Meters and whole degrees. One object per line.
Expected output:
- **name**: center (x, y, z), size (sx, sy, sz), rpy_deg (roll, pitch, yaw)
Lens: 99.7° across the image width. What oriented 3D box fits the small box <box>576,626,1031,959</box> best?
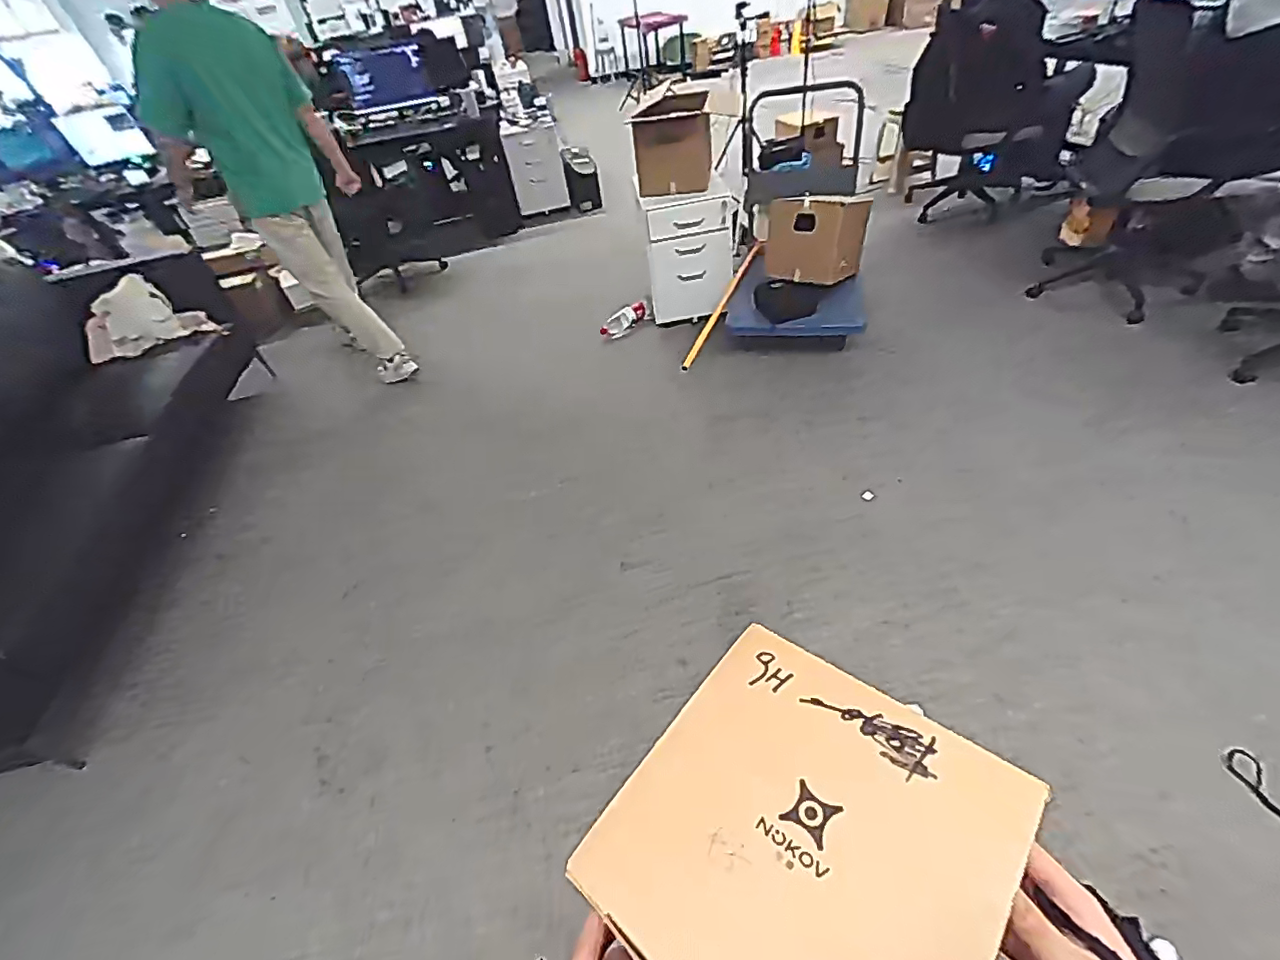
- **small box**: center (0.096, 0.232, 0.324), size (0.168, 0.176, 0.179), rpy_deg (23, 53, 36)
